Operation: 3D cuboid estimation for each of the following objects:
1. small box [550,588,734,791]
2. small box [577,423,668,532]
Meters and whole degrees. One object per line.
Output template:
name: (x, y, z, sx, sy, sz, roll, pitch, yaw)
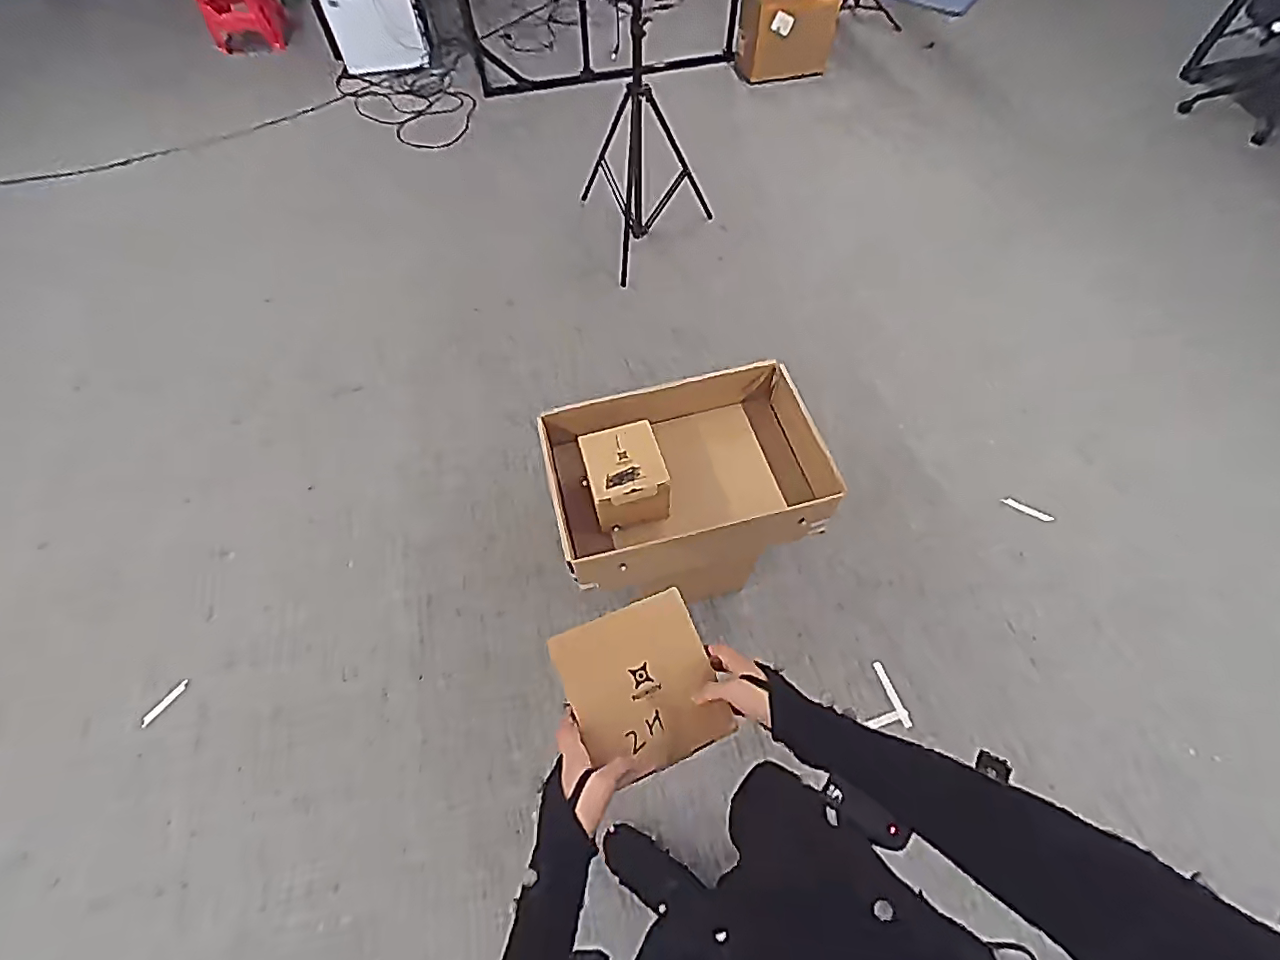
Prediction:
small box: (-0.010, 0.261, 0.682, 0.168, 0.176, 0.179, -19, 70, -15)
small box: (-0.036, 0.003, 1.235, 0.168, 0.176, 0.179, -15, 61, -7)
